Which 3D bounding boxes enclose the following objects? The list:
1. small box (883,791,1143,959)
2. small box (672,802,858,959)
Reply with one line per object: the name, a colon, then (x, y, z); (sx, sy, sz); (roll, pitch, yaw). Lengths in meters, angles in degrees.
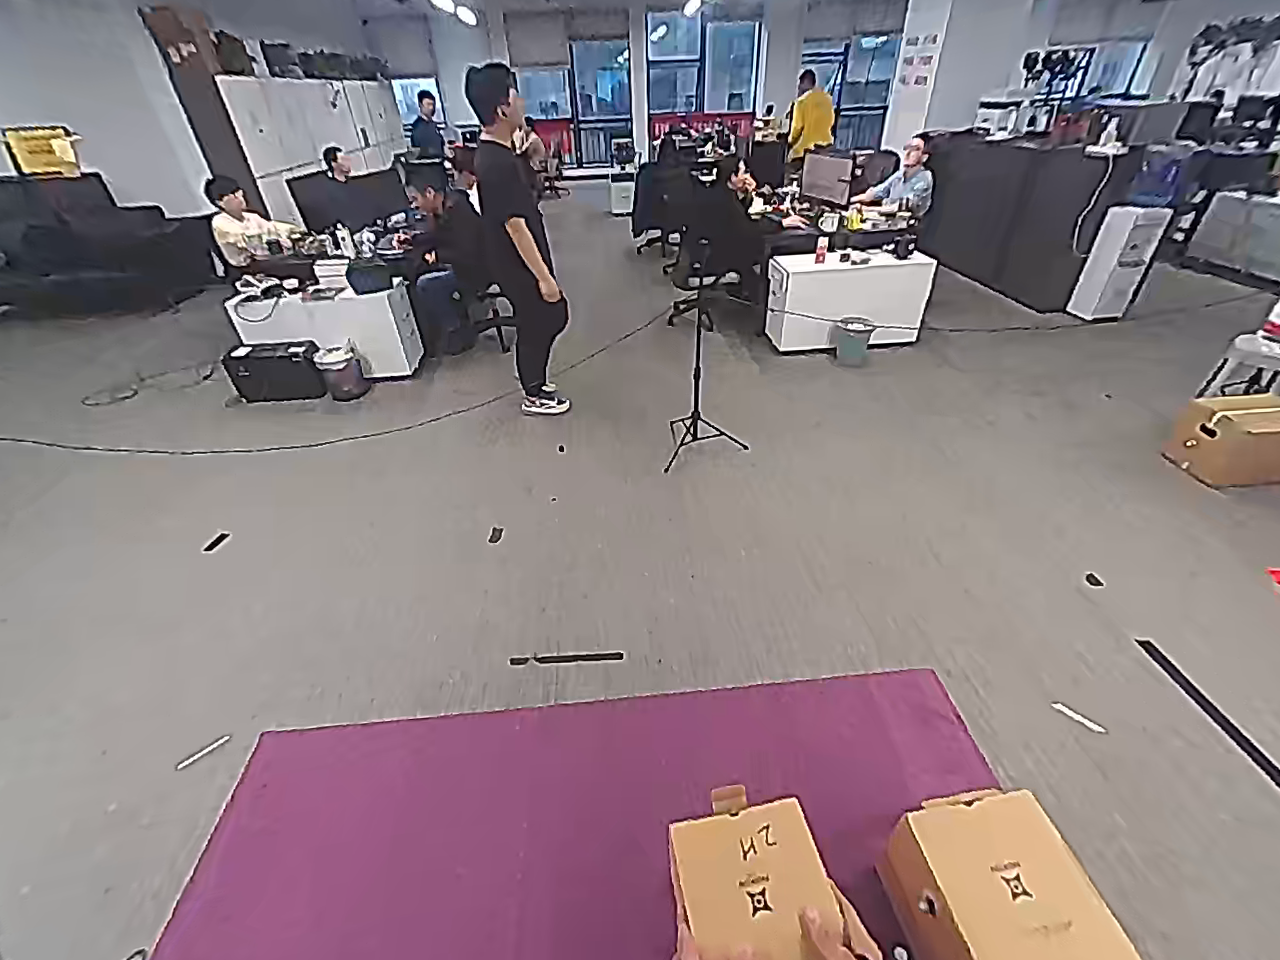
small box: (0.419, 0.513, 0.647); (0.168, 0.176, 0.179); (-7, 36, -4)
small box: (0.137, 0.527, 0.645); (0.168, 0.176, 0.179); (-8, 36, -6)
